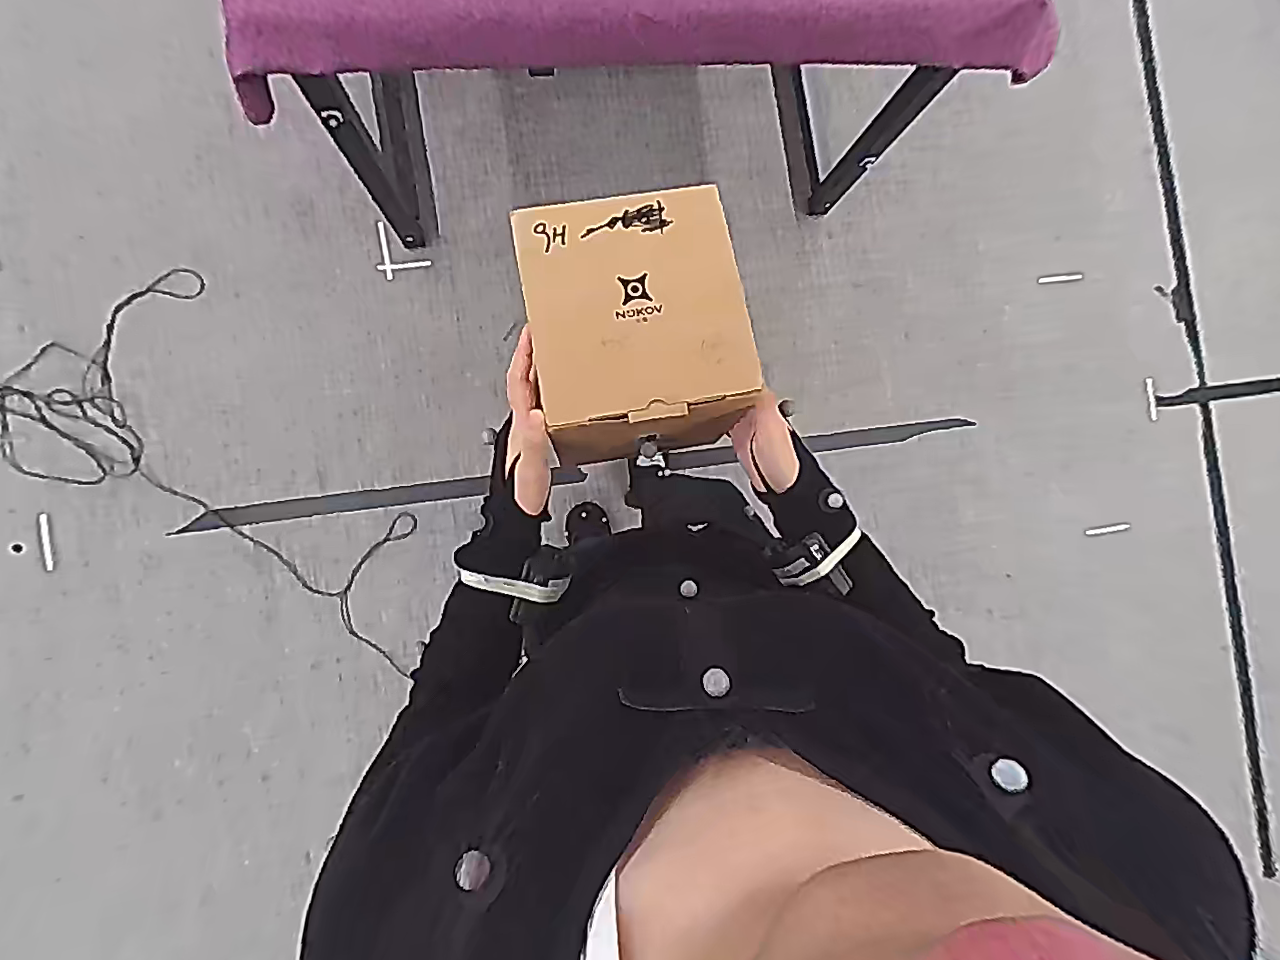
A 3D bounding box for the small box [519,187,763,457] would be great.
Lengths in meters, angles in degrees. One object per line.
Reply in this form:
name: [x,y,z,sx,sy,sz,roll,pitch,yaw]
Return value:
small box: [-0.003,-0.123,0.489,0.168,0.176,0.179,-10,82,-4]
